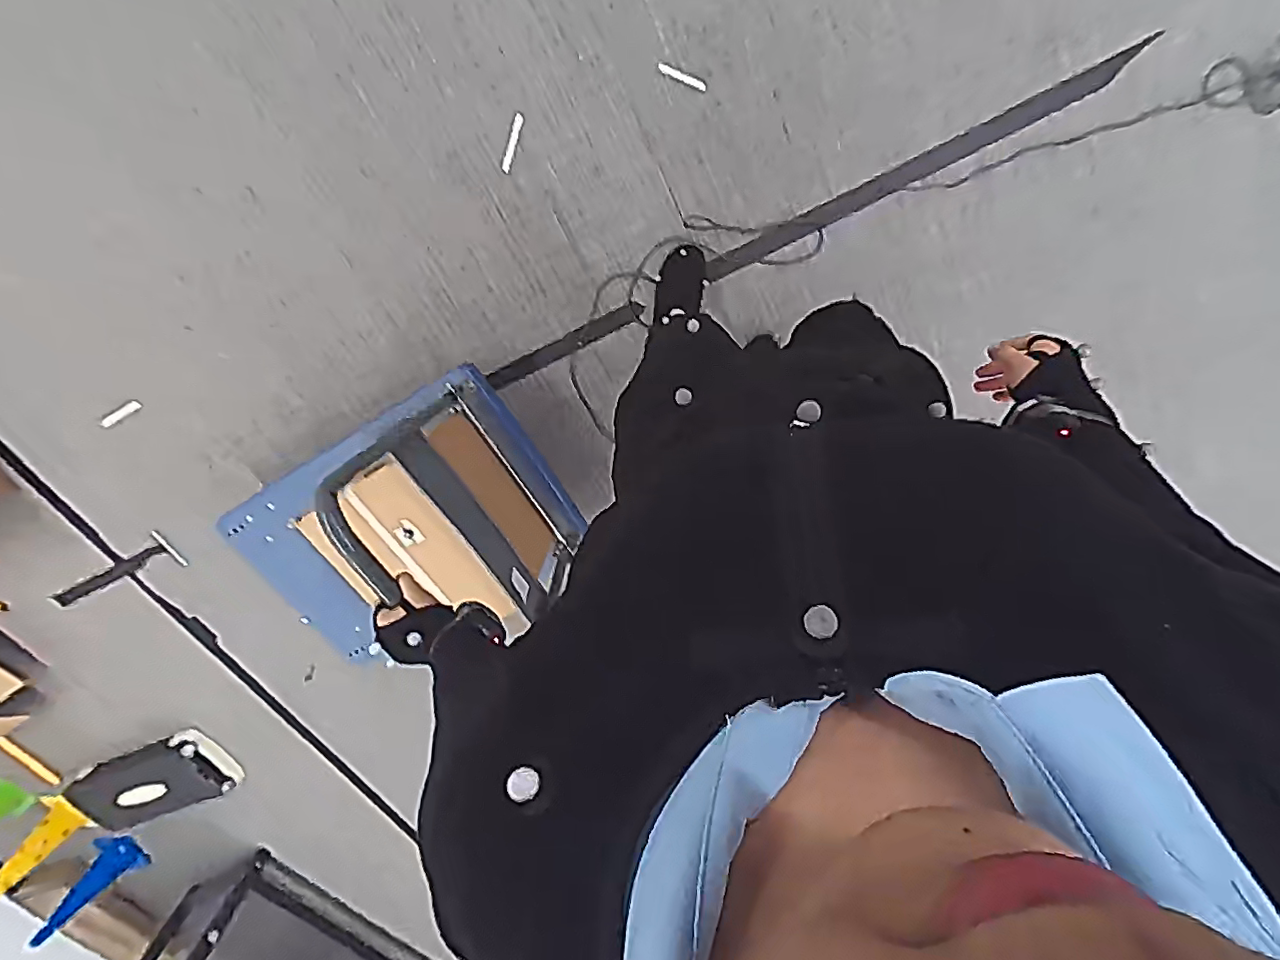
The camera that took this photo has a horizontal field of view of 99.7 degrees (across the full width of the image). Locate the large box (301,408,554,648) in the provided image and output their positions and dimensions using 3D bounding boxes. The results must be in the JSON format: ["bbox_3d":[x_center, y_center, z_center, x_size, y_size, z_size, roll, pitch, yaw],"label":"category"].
[{"bbox_3d":[-0.460,0.105,1.272,0.320,0.320,0.408,-28,109,13],"label":"large box"}]
